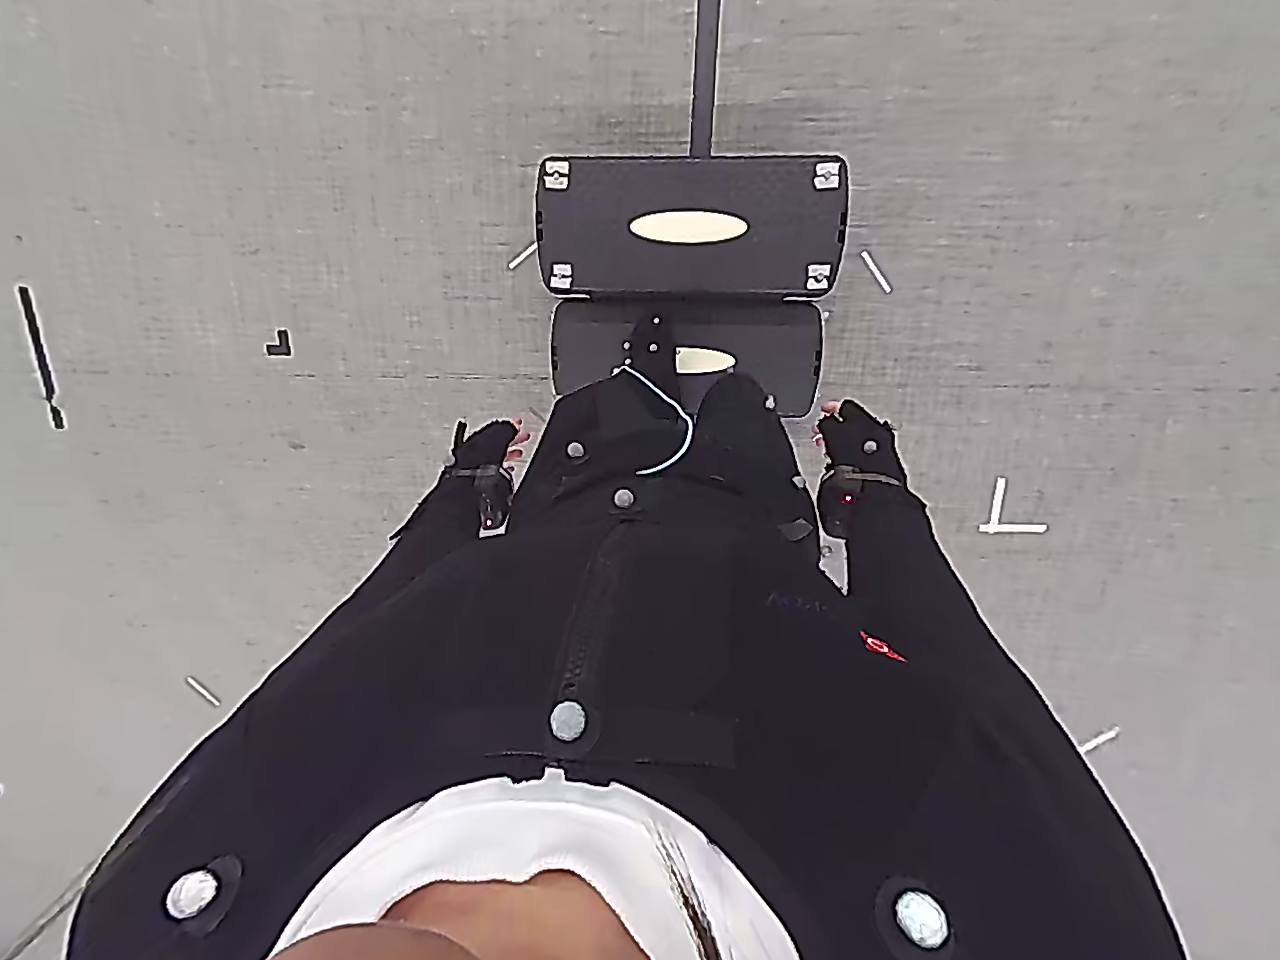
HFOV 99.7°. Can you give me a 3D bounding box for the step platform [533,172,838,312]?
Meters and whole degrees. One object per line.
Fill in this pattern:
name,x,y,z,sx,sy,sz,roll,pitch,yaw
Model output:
step platform,0.098,-0.542,1.258,0.684,0.204,0.286,1,107,3
